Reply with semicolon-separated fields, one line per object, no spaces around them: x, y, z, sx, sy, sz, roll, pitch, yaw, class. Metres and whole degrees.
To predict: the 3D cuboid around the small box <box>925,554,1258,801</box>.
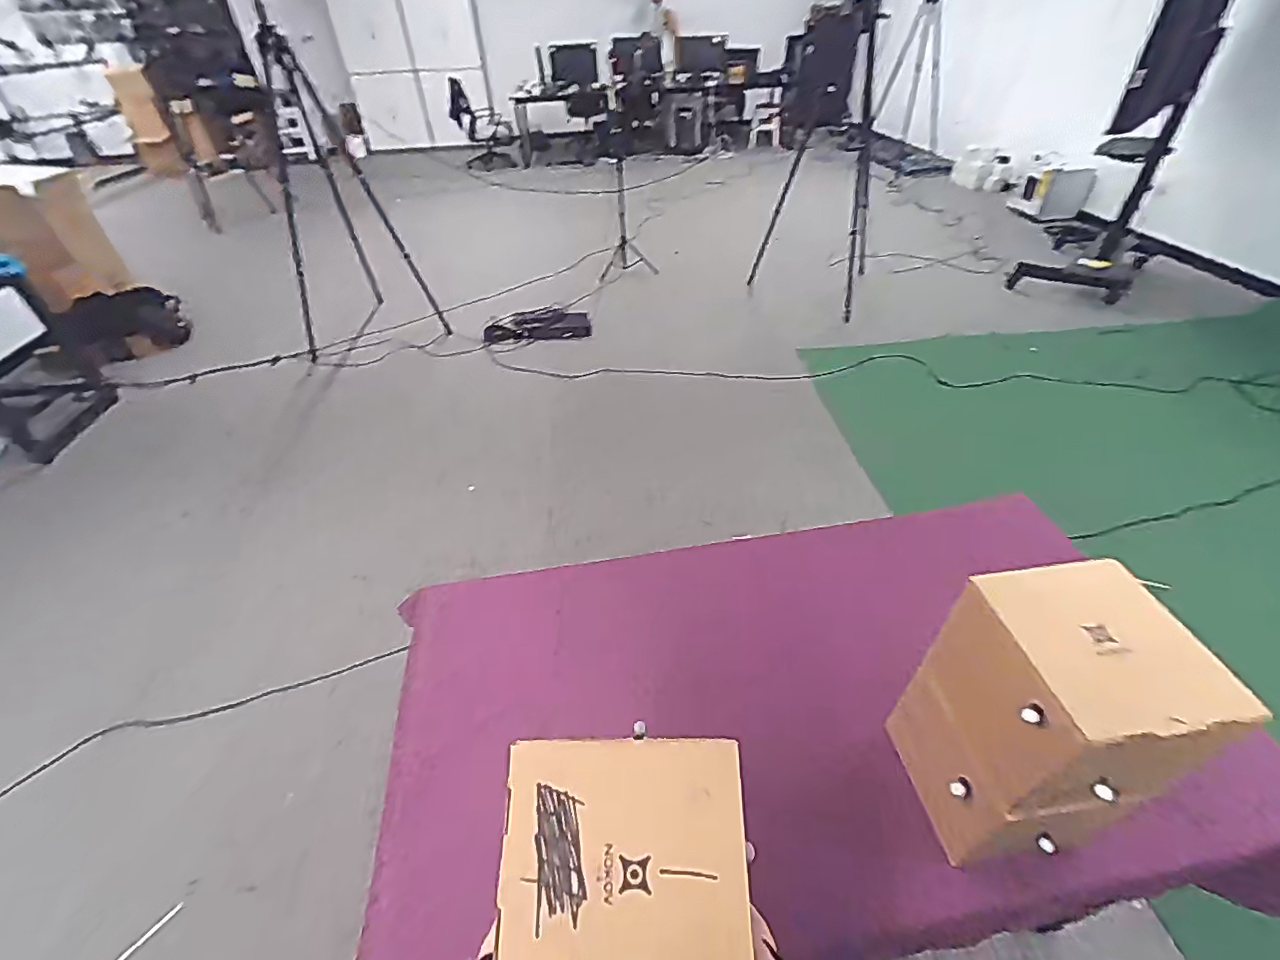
0.436;0.205;0.568;0.168;0.176;0.179;-7;43;-4;small box

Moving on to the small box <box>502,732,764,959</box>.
0.000;0.303;0.449;0.179;0.176;0.168;-2;66;3;small box

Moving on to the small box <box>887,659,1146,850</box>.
0.439;0.332;0.670;0.168;0.176;0.179;-7;41;-5;small box
